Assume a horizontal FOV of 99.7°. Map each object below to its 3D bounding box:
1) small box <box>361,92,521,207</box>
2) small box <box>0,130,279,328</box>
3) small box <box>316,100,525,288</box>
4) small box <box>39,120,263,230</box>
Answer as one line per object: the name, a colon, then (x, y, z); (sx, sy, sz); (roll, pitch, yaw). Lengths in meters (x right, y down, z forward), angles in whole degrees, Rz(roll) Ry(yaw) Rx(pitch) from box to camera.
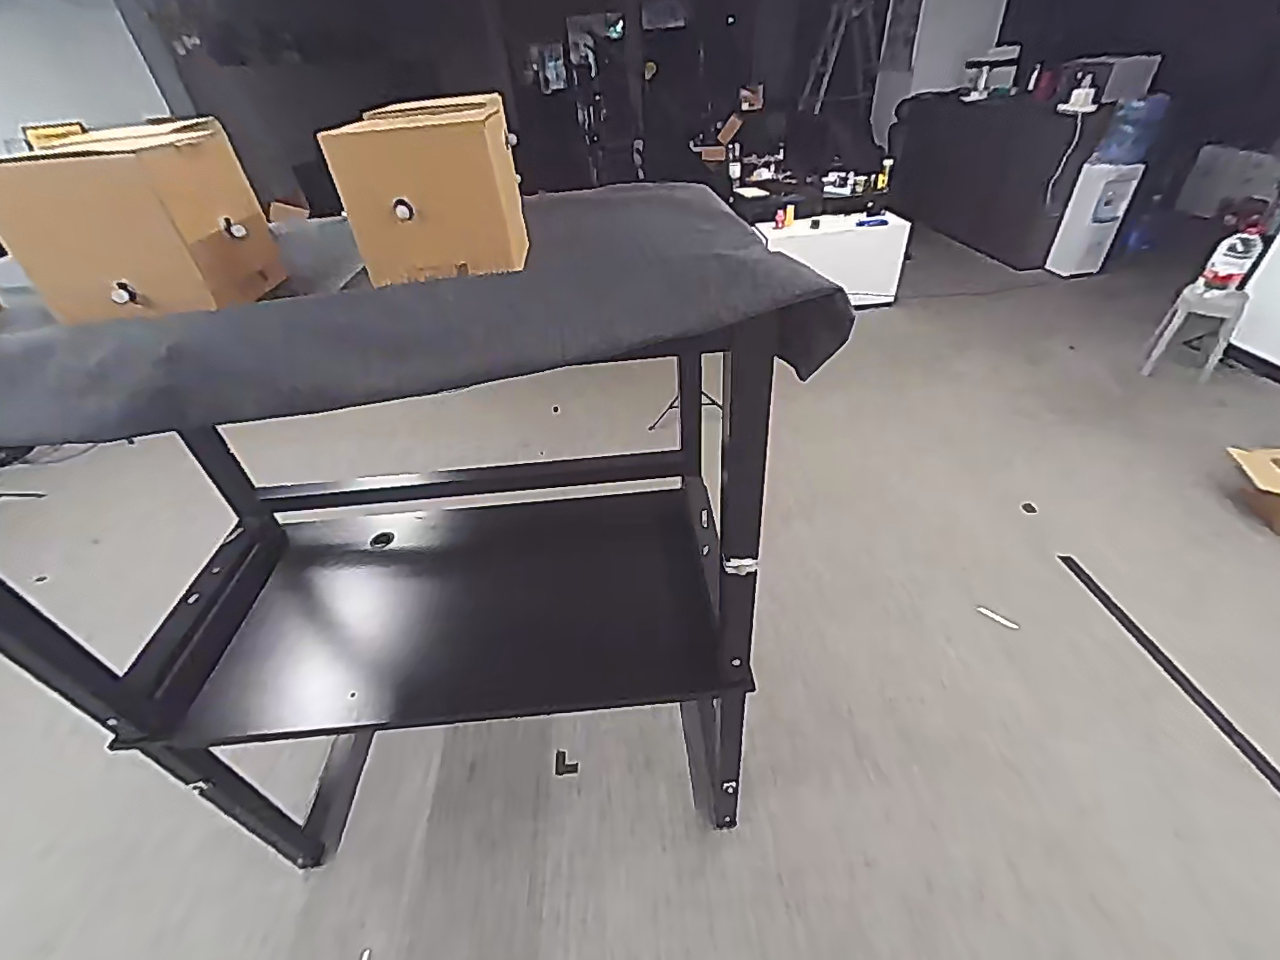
small box: (-0.302, -0.506, 0.864); (0.179, 0.176, 0.168); (-6, 39, -1)
small box: (-0.556, -0.284, 0.611); (0.179, 0.176, 0.168); (-6, 37, -2)
small box: (-0.237, -0.336, 0.641); (0.168, 0.176, 0.179); (-7, 37, -2)
small box: (-0.731, -0.448, 0.841); (0.168, 0.176, 0.179); (-11, 38, -5)
